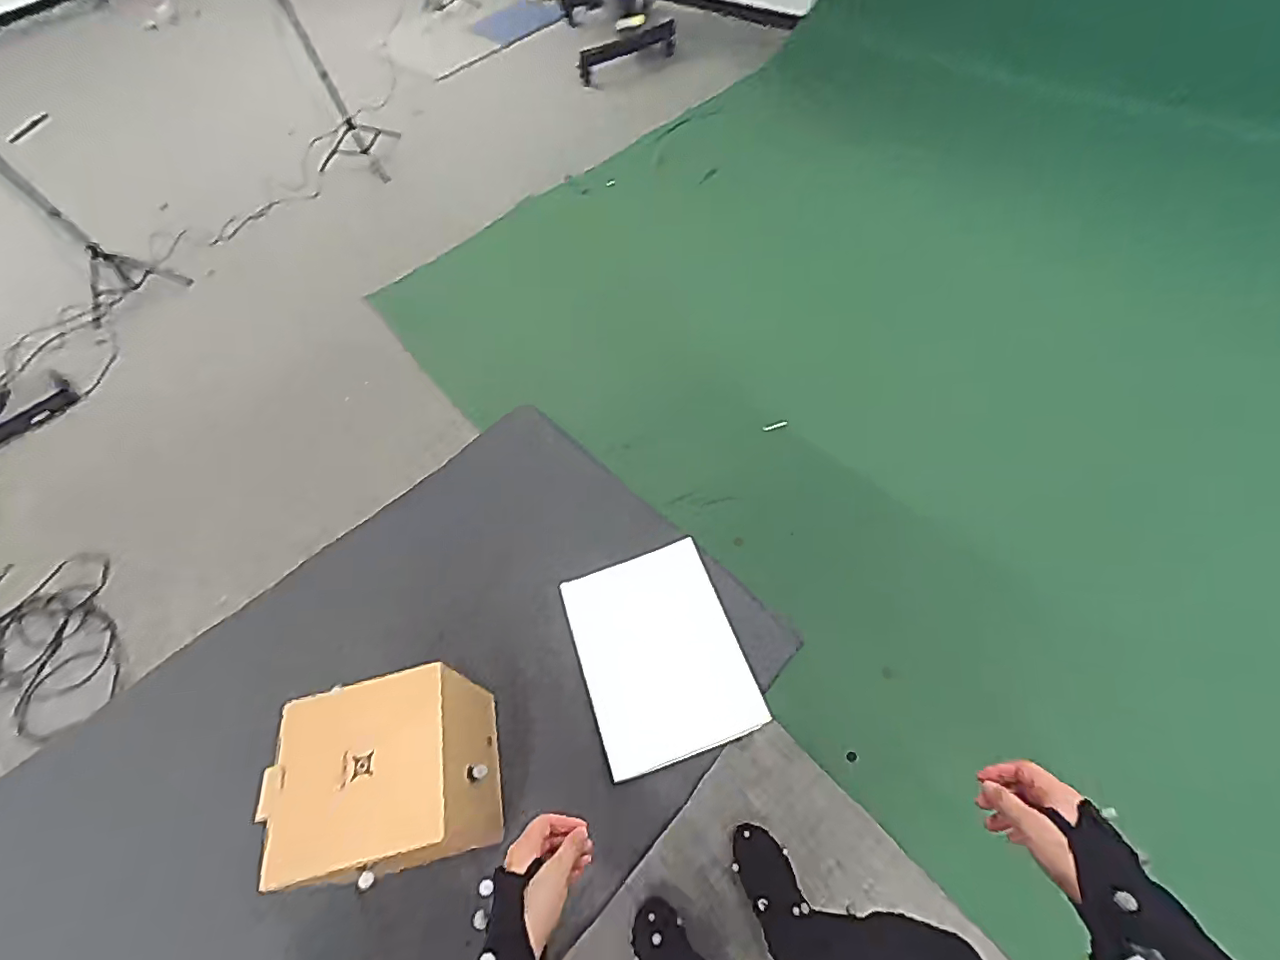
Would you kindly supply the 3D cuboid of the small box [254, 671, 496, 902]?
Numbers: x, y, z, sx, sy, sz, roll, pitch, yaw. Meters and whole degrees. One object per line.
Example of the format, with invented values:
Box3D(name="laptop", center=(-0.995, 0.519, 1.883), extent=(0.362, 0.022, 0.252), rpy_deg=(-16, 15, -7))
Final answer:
Box3D(name="small box", center=(-0.266, 0.328, 0.589), extent=(0.179, 0.176, 0.168), rpy_deg=(-16, 56, -1))
